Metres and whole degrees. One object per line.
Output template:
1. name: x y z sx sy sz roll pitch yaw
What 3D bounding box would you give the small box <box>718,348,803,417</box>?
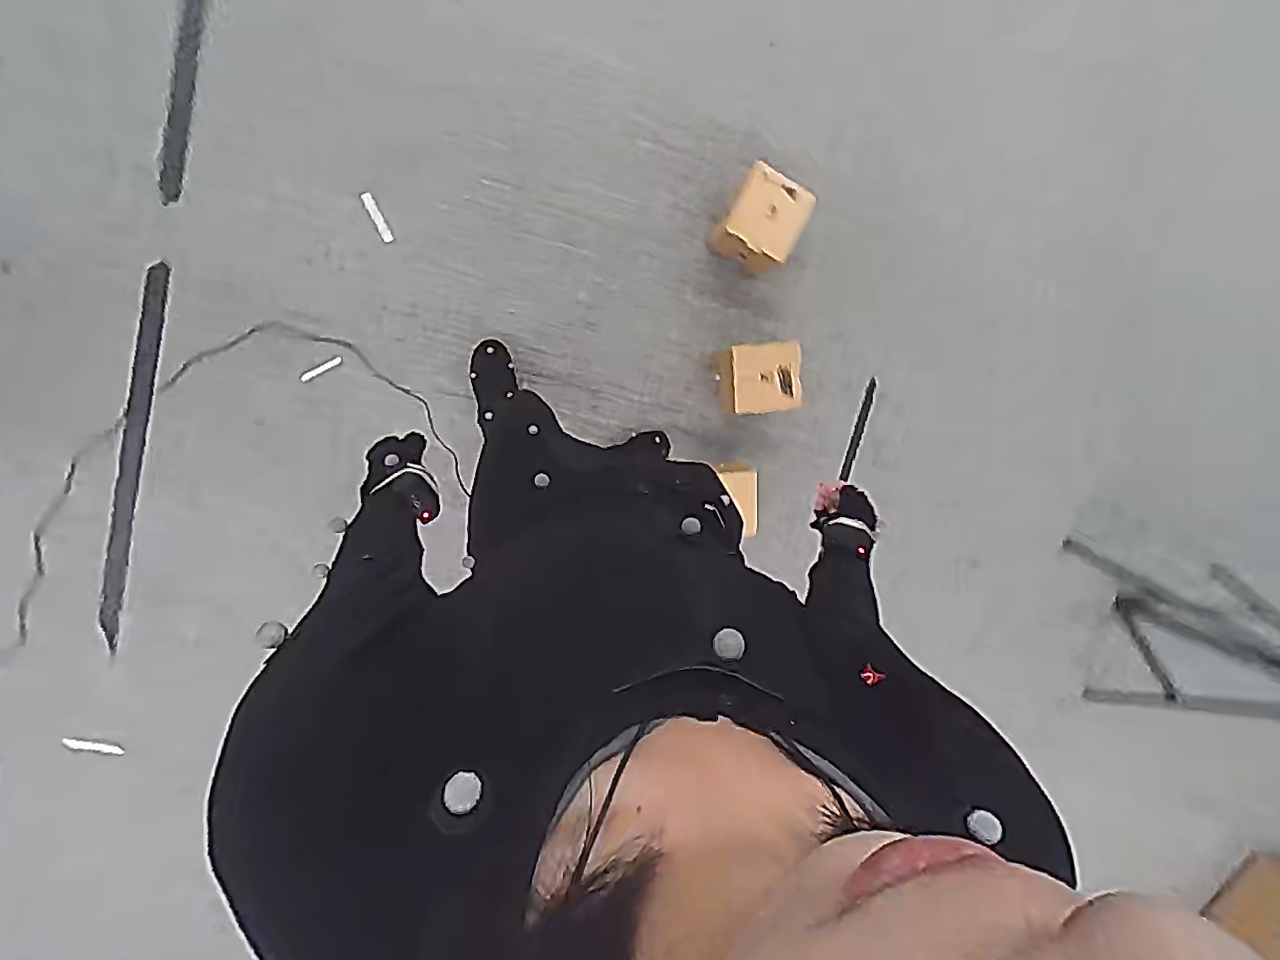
1. small box: 0.314 -0.259 1.424 0.179 0.176 0.168 -5 101 -6

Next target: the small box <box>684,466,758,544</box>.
1. small box: 0.217 0.063 1.475 0.168 0.176 0.179 -4 100 -7

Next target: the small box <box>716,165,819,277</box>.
1. small box: 0.307 -0.634 1.355 0.168 0.176 0.179 27 96 -11
